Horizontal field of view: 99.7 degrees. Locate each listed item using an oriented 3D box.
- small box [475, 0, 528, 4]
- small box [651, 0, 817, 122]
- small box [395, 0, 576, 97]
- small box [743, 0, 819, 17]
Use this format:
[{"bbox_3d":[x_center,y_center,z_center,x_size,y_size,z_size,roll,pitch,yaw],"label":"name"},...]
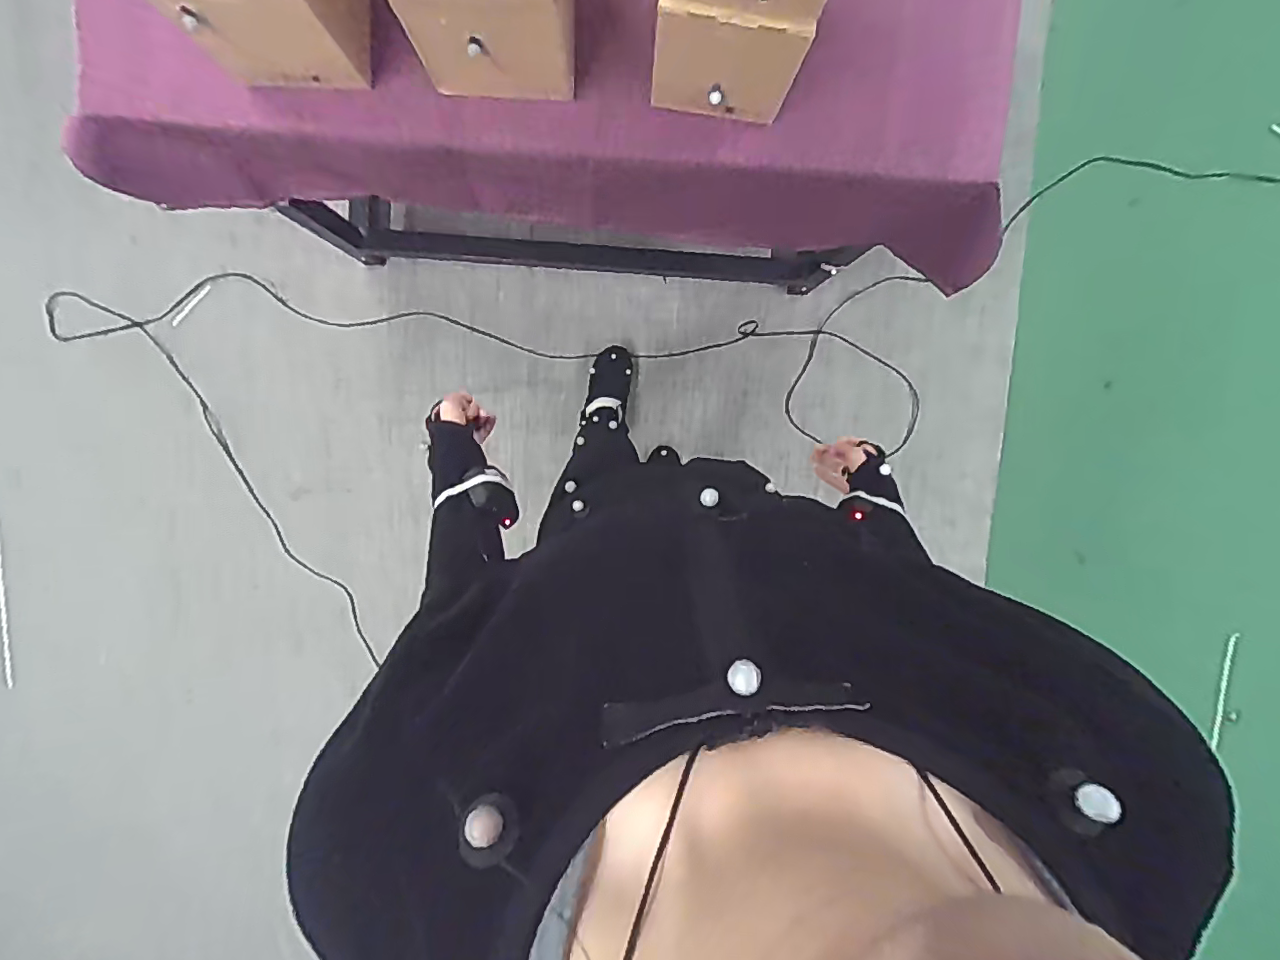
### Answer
[{"bbox_3d":[-0.165,-0.549,0.450,0.179,0.176,0.168,4,95,-1],"label":"small box"},{"bbox_3d":[0.106,-0.559,0.621,0.168,0.176,0.179,8,95,-2],"label":"small box"},{"bbox_3d":[-0.170,-0.572,0.614,0.179,0.176,0.168,2,96,-2],"label":"small box"},{"bbox_3d":[0.113,-0.553,0.458,0.168,0.176,0.179,10,94,-3],"label":"small box"}]
